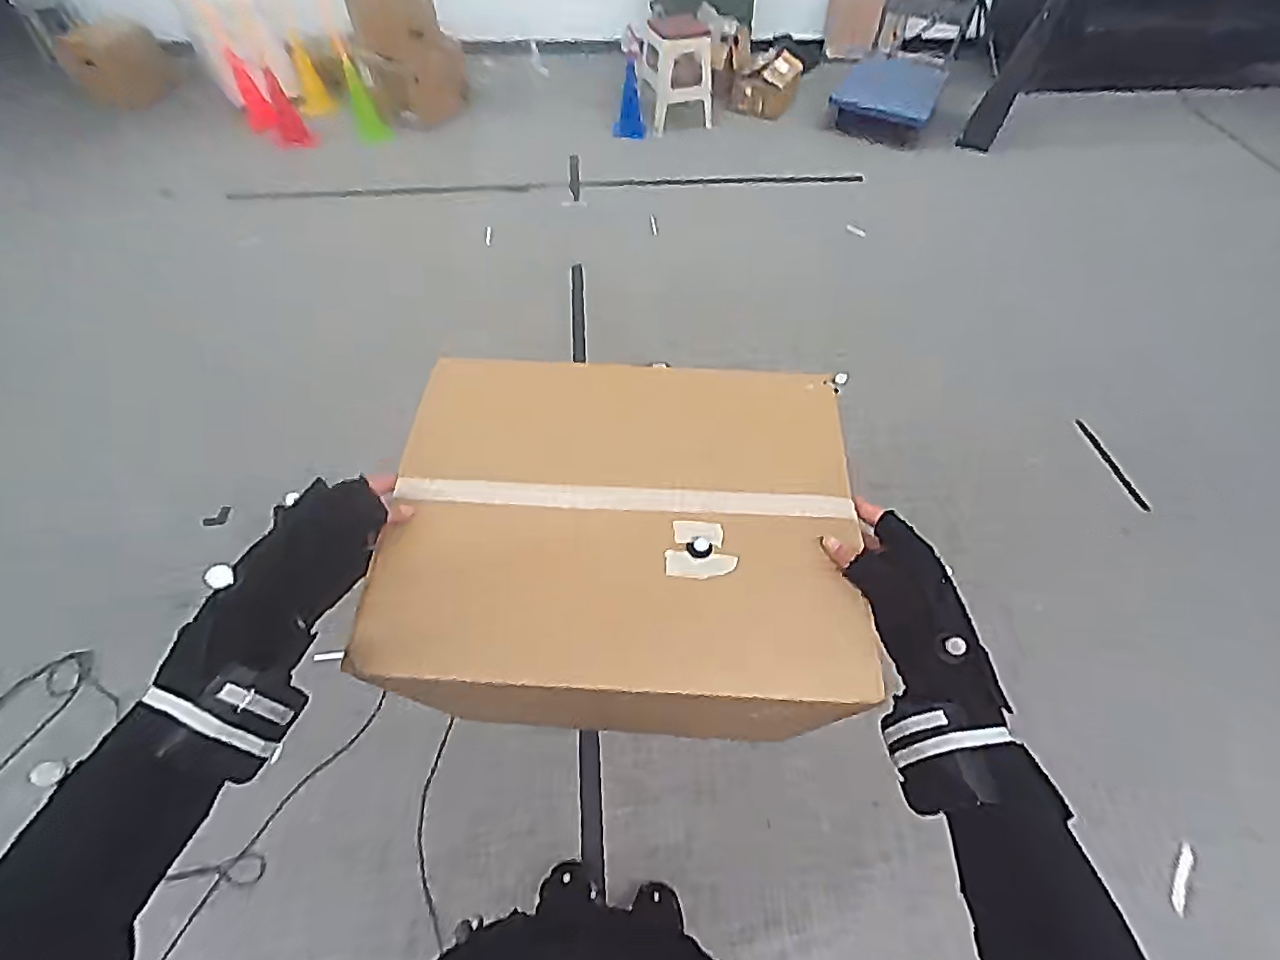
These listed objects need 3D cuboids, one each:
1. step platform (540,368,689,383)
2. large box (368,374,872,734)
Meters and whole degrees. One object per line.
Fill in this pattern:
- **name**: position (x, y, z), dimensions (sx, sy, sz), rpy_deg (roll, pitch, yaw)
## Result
- **step platform**: position (-0.151, -0.206, 1.836), dimensions (0.684, 0.204, 0.286), rpy_deg (-5, 55, -6)
- **large box**: position (-0.014, 0.101, 0.622), dimensions (0.408, 0.320, 0.320), rpy_deg (3, 60, 1)
